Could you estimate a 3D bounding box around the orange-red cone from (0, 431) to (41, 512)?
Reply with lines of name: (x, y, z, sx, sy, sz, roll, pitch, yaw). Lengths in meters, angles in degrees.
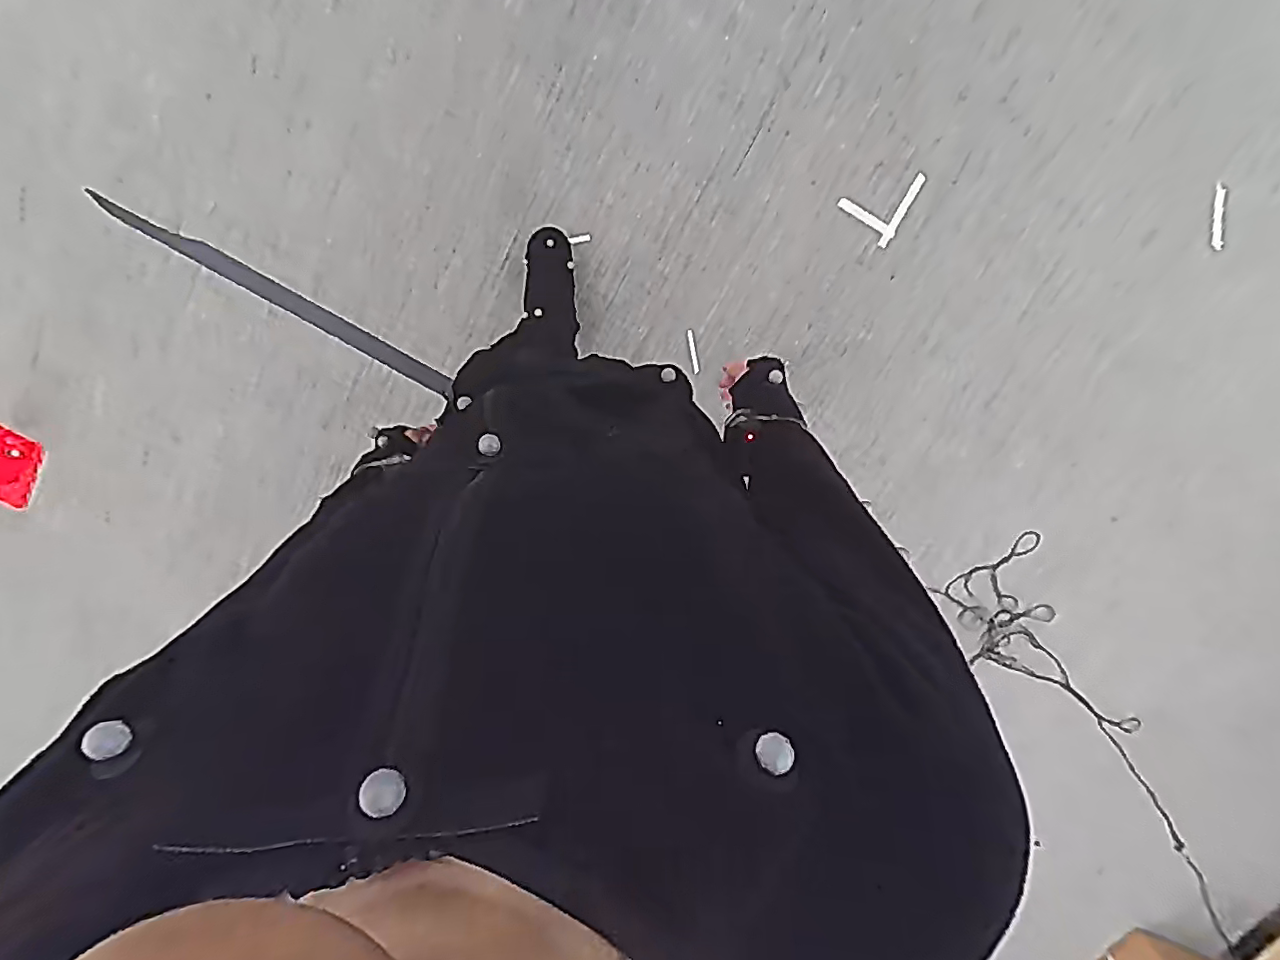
orange-red cone: (-1.586, 0.008, 1.156, 0.199, 0.360, 0.198, 32, 102, -11)
